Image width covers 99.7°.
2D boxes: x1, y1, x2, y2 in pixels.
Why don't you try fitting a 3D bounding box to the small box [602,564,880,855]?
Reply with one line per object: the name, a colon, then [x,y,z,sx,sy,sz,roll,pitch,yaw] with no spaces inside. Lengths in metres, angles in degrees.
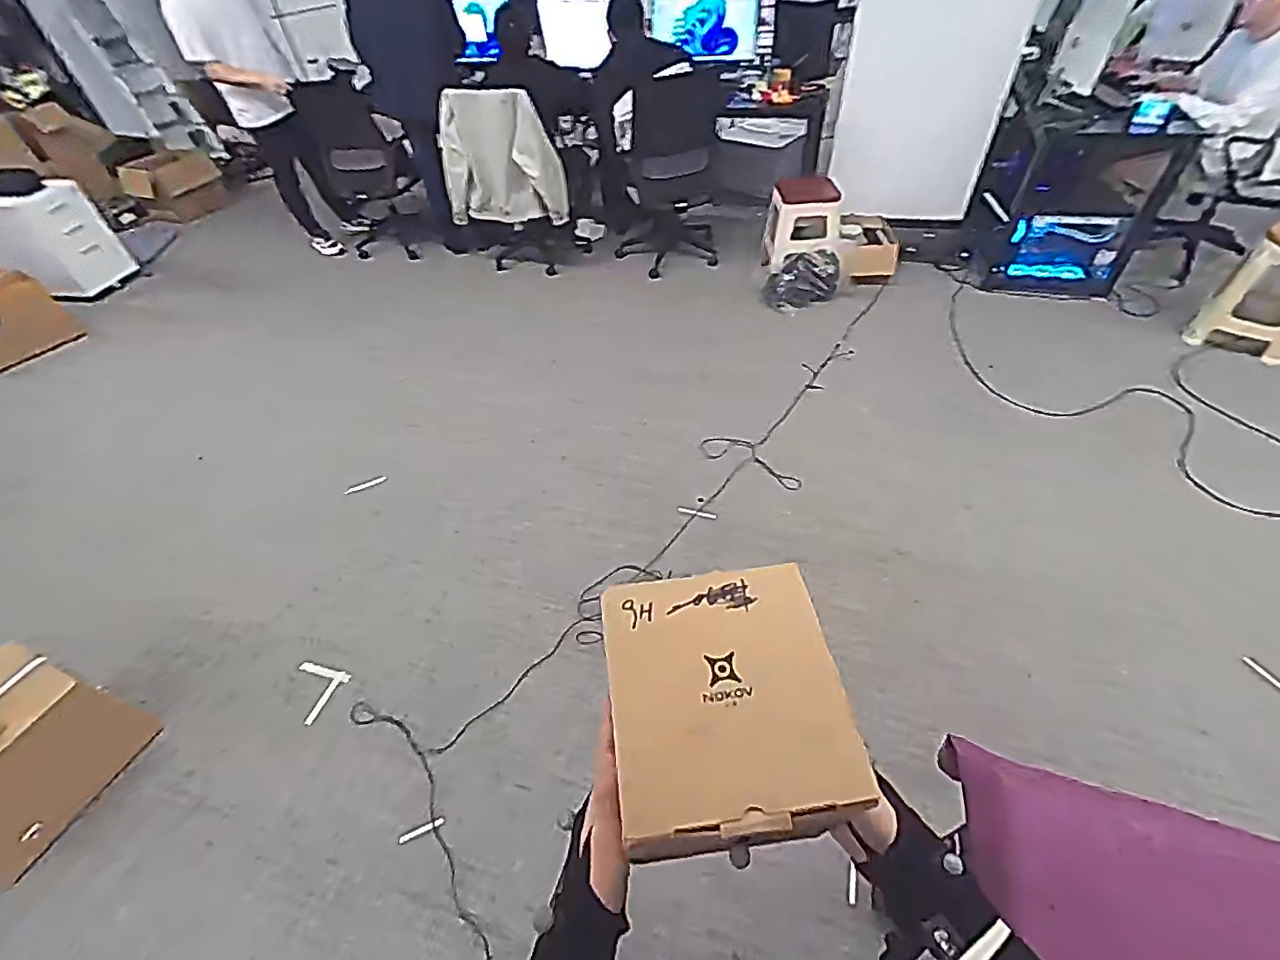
small box: [0.062,0.194,0.446,0.168,0.176,0.179,-6,51,-5]
